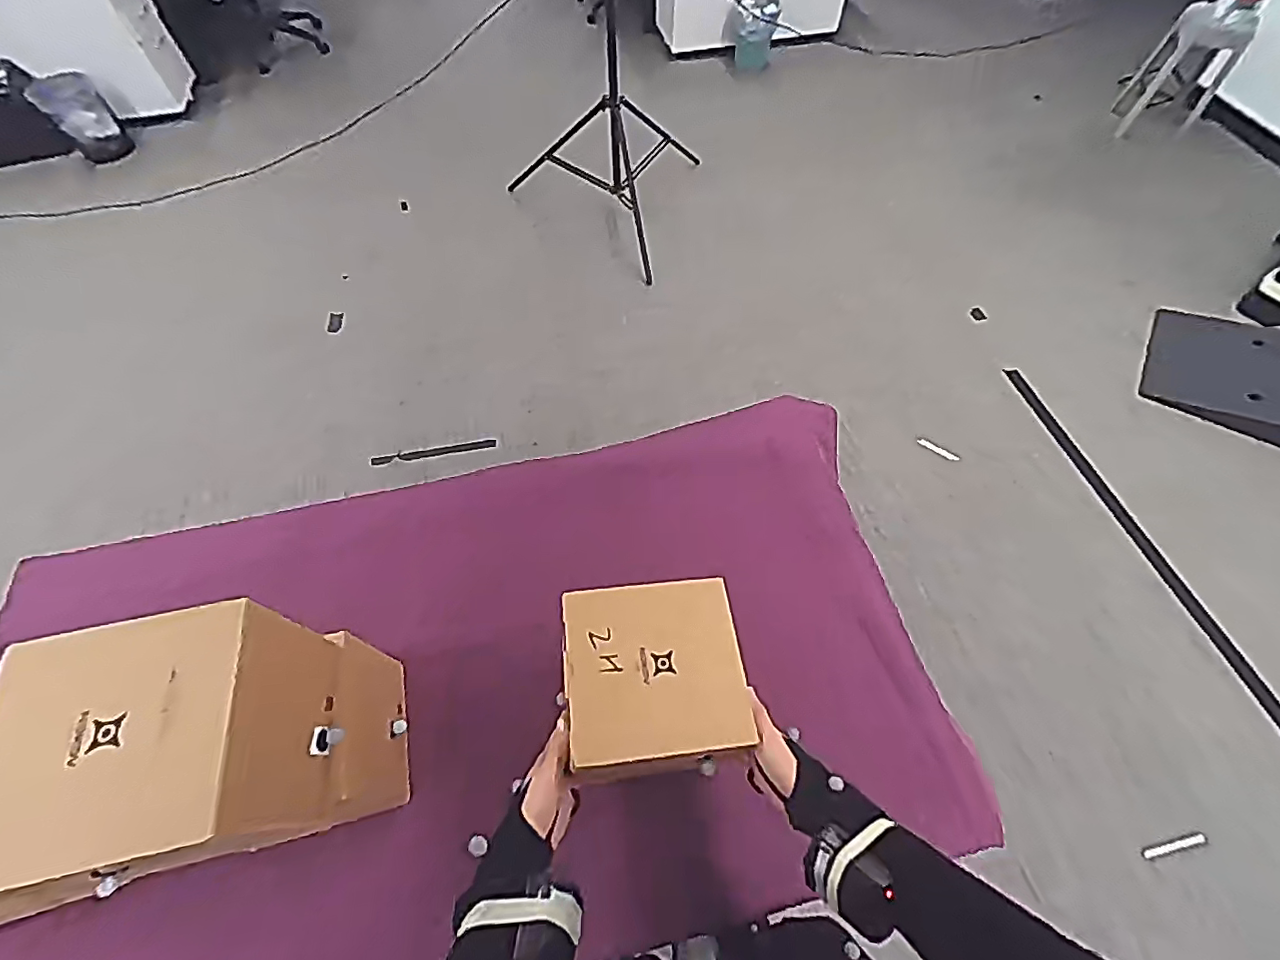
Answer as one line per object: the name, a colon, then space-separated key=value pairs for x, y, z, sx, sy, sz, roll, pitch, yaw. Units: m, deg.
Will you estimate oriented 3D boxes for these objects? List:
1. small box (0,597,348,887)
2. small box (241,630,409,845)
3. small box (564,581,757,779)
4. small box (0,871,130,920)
small box: x=-0.375 y=0.216 z=0.450 sx=0.179 sy=0.176 sz=0.168 roll=-11 pitch=61 yaw=-7
small box: x=-0.376 y=0.287 z=0.596 sx=0.179 sy=0.176 sz=0.168 roll=-13 pitch=60 yaw=-8
small box: x=0.009 y=0.224 z=0.595 sx=0.179 sy=0.176 sz=0.168 roll=-4 pitch=58 yaw=-6
small box: x=-0.661 y=0.352 z=0.562 sx=0.168 sy=0.176 sz=0.179 roll=-15 pitch=60 yaw=-8
